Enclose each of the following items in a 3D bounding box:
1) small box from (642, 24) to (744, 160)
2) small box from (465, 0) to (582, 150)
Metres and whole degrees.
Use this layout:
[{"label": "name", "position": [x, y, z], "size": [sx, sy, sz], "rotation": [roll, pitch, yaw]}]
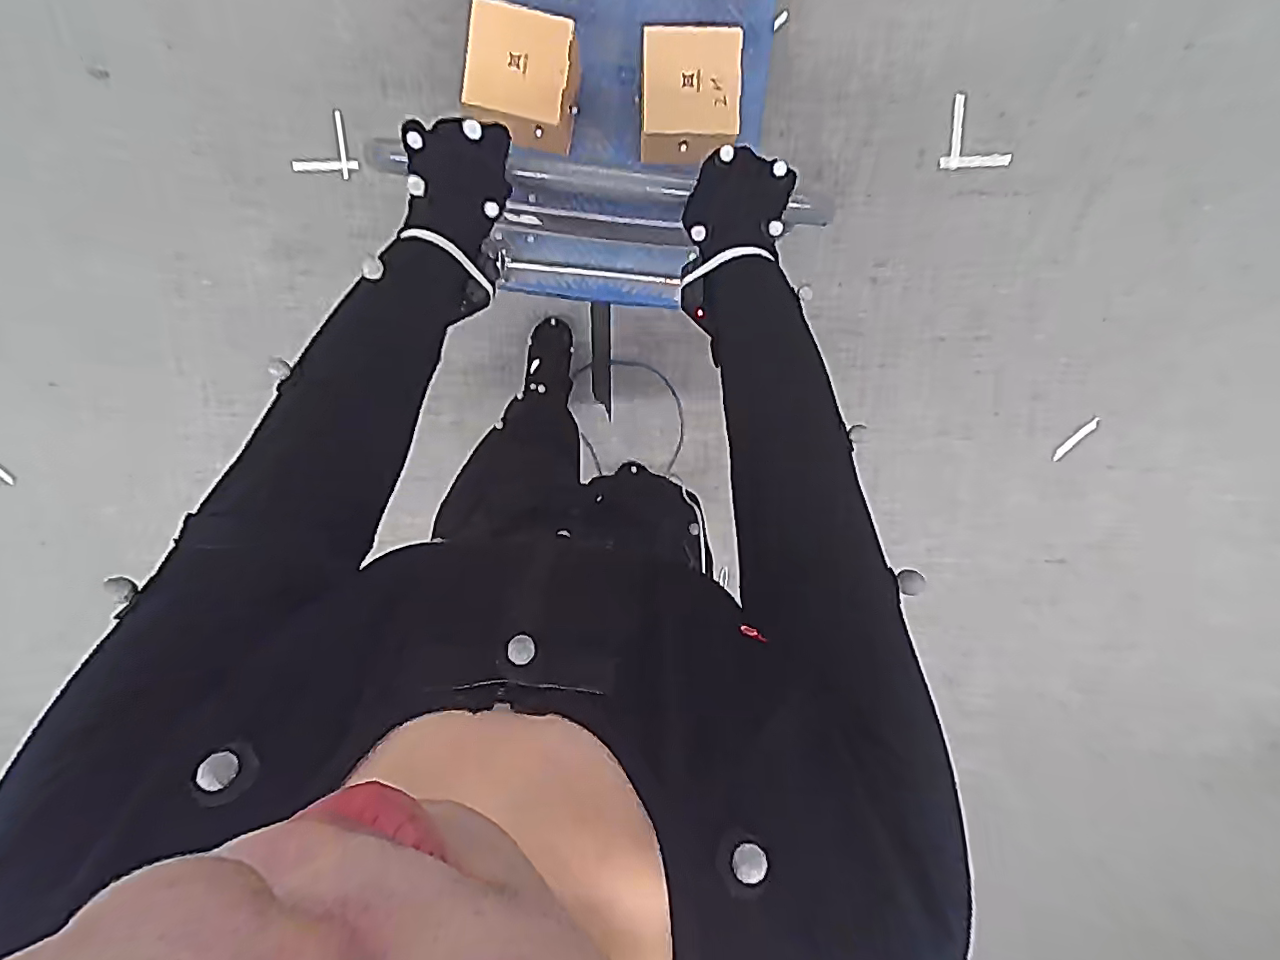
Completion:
[{"label": "small box", "position": [0.093, -0.731, 1.037], "size": [0.179, 0.176, 0.168], "rotation": [0, 105, -2]}, {"label": "small box", "position": [-0.212, -0.754, 1.022], "size": [0.179, 0.176, 0.168], "rotation": [10, 103, -6]}]
